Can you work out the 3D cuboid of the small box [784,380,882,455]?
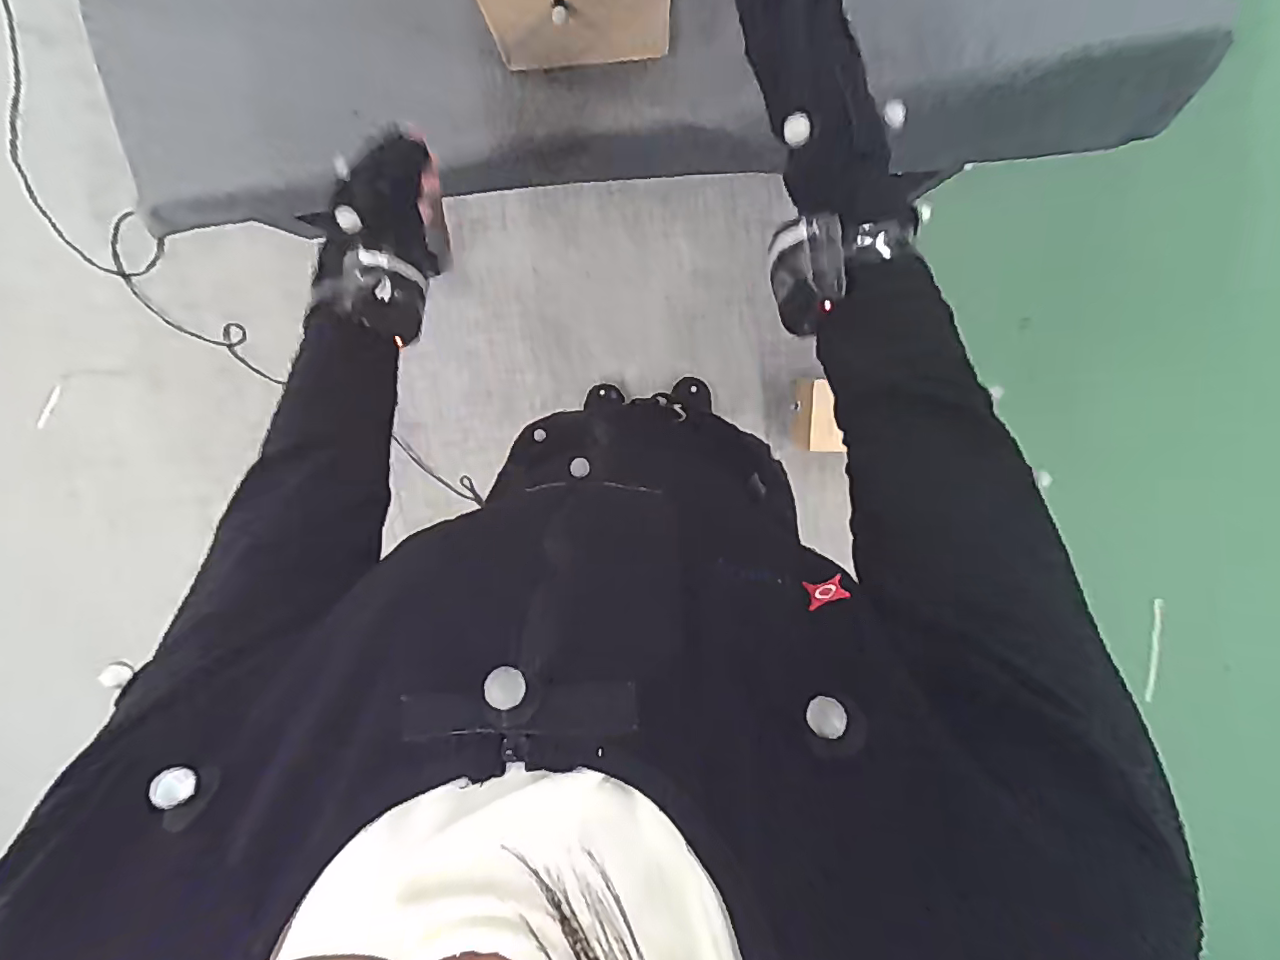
[{"bbox_3d":[0.461,-0.155,1.311,0.179,0.176,0.168,1,101,2],"label":"small box"}]

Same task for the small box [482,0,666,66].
[{"bbox_3d":[-0.066,-0.516,0.496,0.179,0.176,0.168,-3,102,2],"label":"small box"}]
